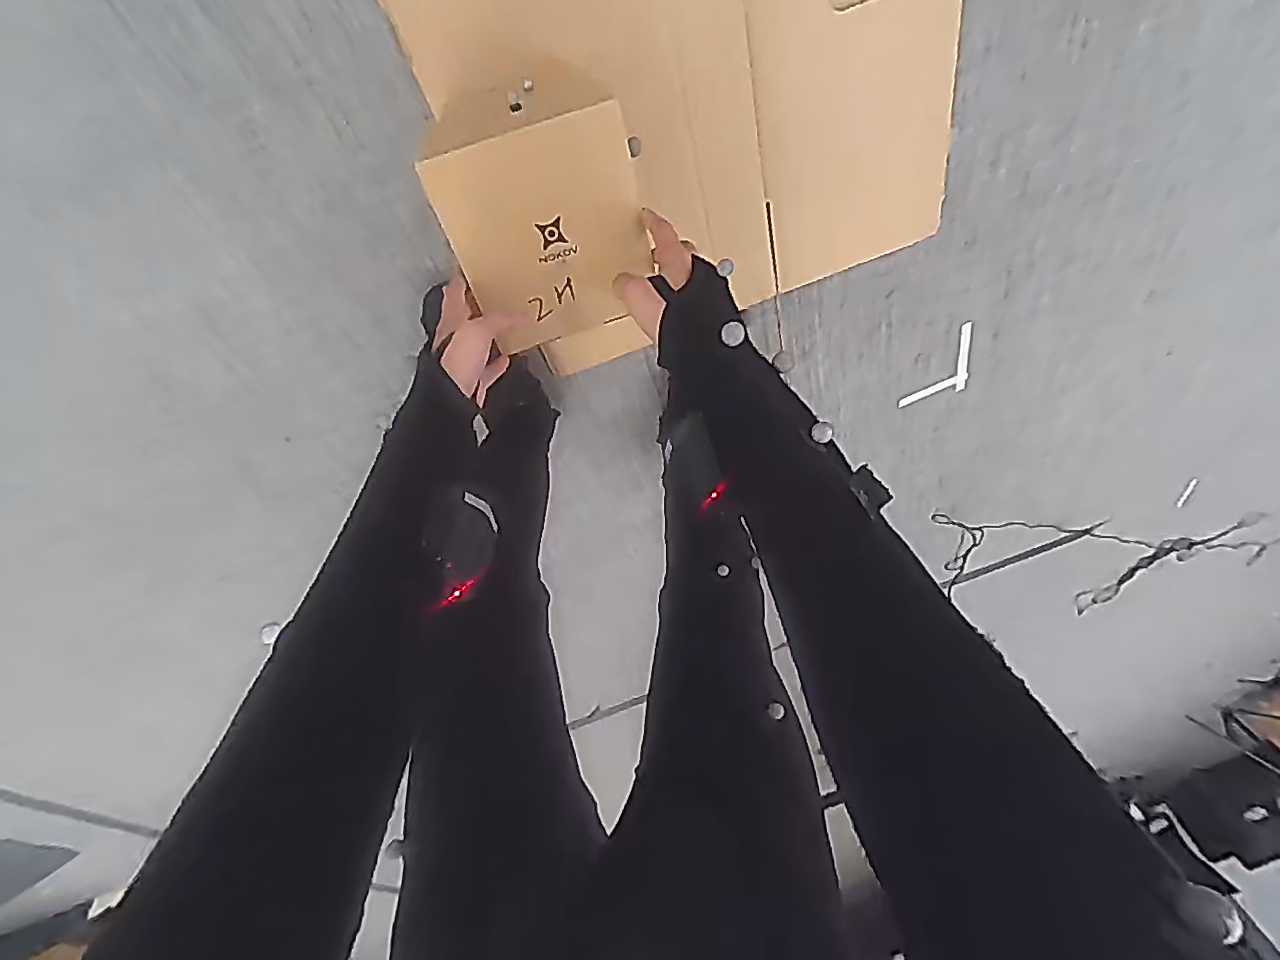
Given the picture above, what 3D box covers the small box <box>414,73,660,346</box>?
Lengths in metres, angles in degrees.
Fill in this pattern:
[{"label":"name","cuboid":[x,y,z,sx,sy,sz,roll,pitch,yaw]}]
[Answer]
[{"label":"small box","cuboid":[-0.093,-0.263,0.516,0.168,0.176,0.179,-18,134,-1]}]
